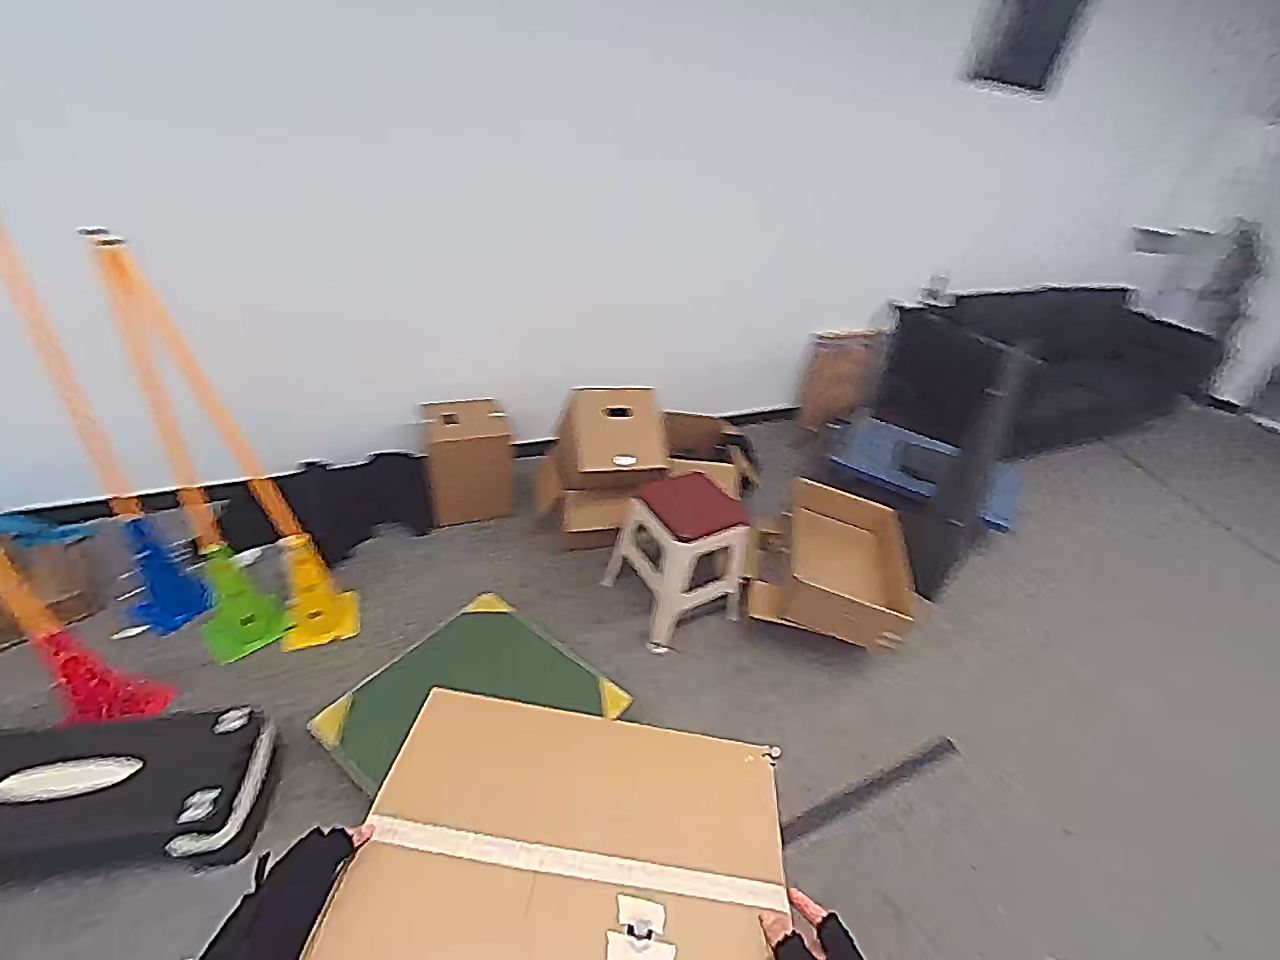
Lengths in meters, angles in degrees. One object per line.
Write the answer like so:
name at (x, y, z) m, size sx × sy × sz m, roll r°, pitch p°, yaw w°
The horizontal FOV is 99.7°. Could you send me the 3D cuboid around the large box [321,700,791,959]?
large box at (-0.077, 0.501, 0.597) m, size 0.408 × 0.320 × 0.320 m, roll 11°, pitch 32°, yaw 2°
